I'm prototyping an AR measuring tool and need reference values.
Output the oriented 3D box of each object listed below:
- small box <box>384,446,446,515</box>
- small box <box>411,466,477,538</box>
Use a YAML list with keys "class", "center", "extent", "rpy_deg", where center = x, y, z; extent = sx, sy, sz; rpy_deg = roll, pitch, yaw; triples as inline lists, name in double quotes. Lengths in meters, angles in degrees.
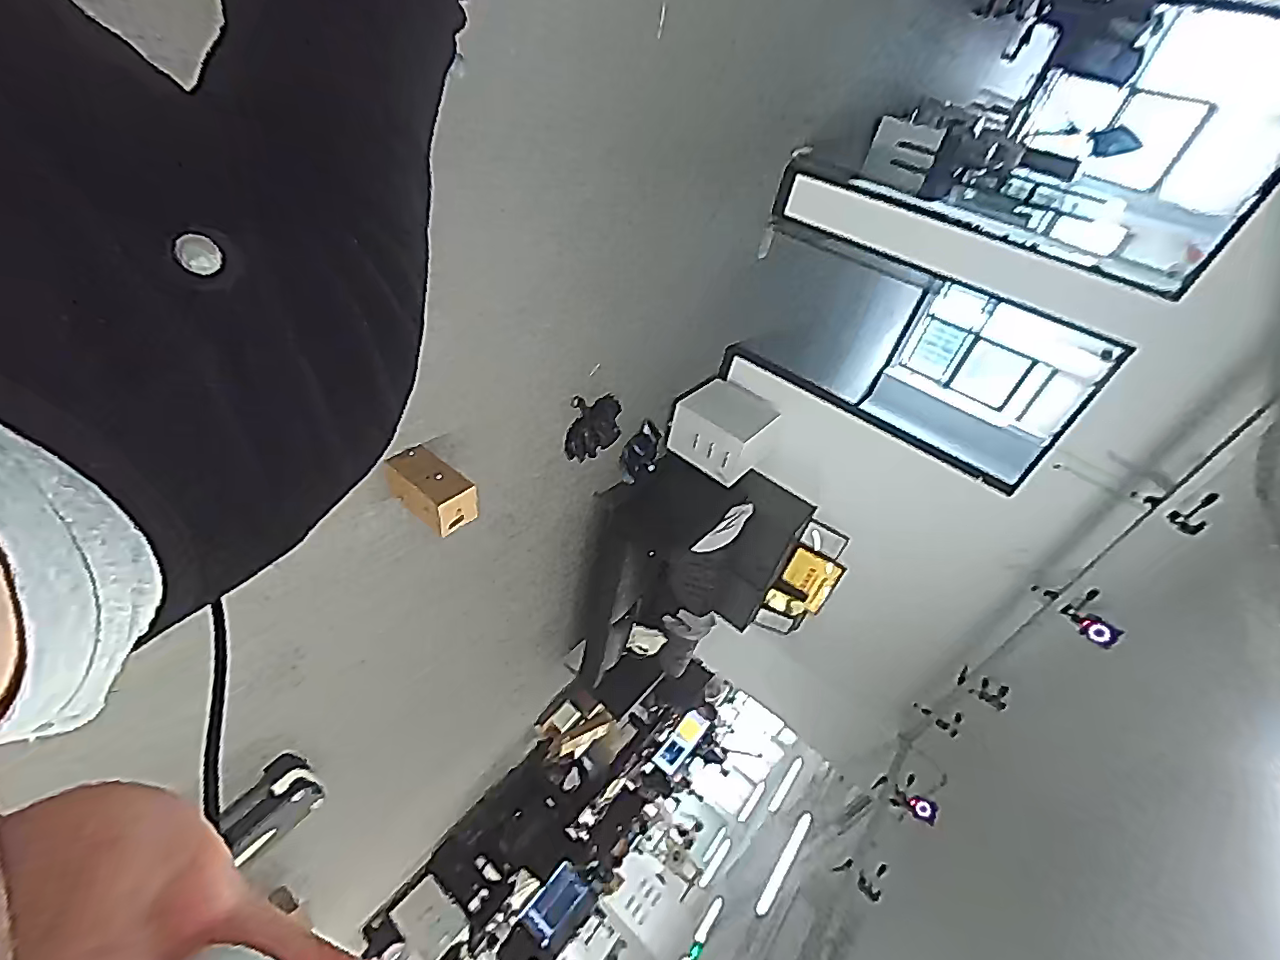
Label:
- class: "small box"
  center: [-0.867, -0.001, 2.107]
  extent: [0.168, 0.176, 0.179]
  rpy_deg: [-37, 150, -41]
- class: "small box"
  center: [-0.737, 0.077, 2.042]
  extent: [0.168, 0.176, 0.179]
  rpy_deg: [-37, 150, -40]
